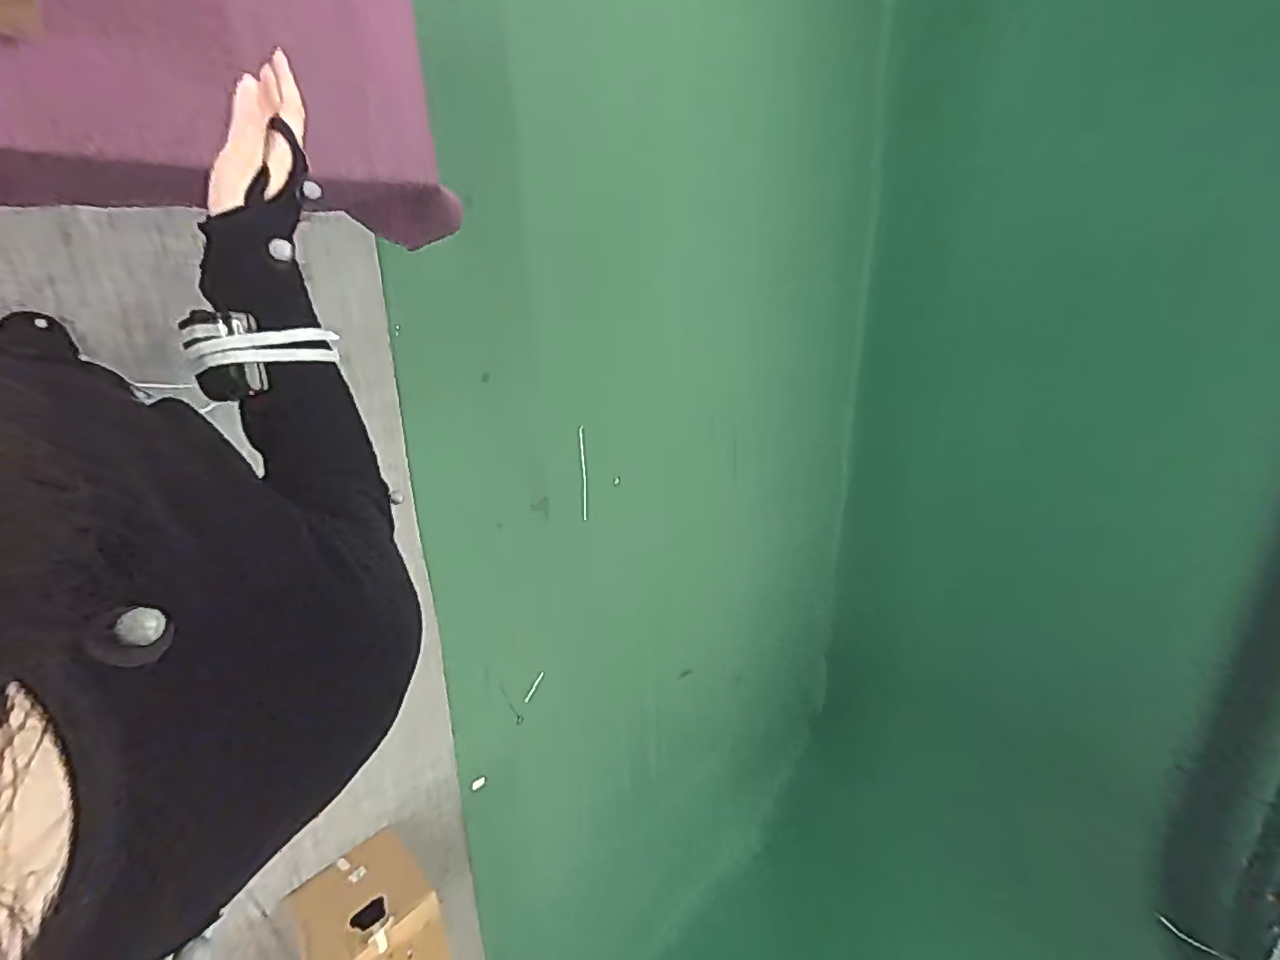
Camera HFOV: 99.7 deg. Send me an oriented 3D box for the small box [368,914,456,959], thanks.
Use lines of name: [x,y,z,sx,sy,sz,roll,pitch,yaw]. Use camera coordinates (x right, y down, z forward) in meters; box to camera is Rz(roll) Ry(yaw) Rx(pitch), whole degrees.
small box: [-0.616,1.337,1.453,0.168,0.176,0.179,-7,106,-48]

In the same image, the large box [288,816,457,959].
large box: [-0.796,1.339,1.624,0.320,0.320,0.408,-21,117,-43]
